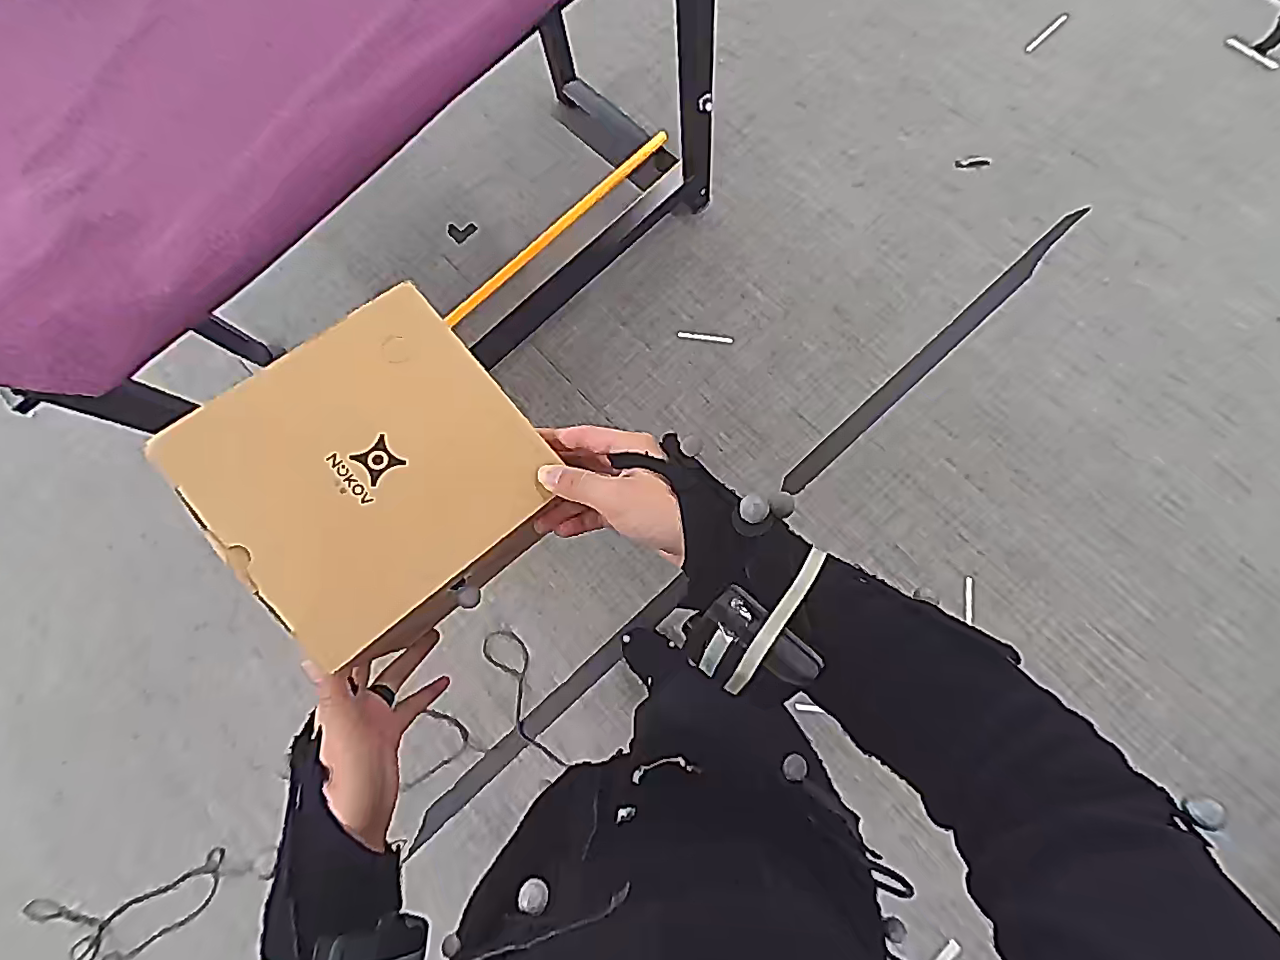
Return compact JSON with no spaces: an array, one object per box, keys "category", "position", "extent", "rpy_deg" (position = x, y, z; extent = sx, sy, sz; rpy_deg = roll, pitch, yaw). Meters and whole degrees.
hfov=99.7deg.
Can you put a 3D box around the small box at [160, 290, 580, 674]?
[{"category":"small box","position":[-0.165,0.007,0.393],"extent":[0.179,0.176,0.168],"rpy_deg":[-39,87,-14]}]
